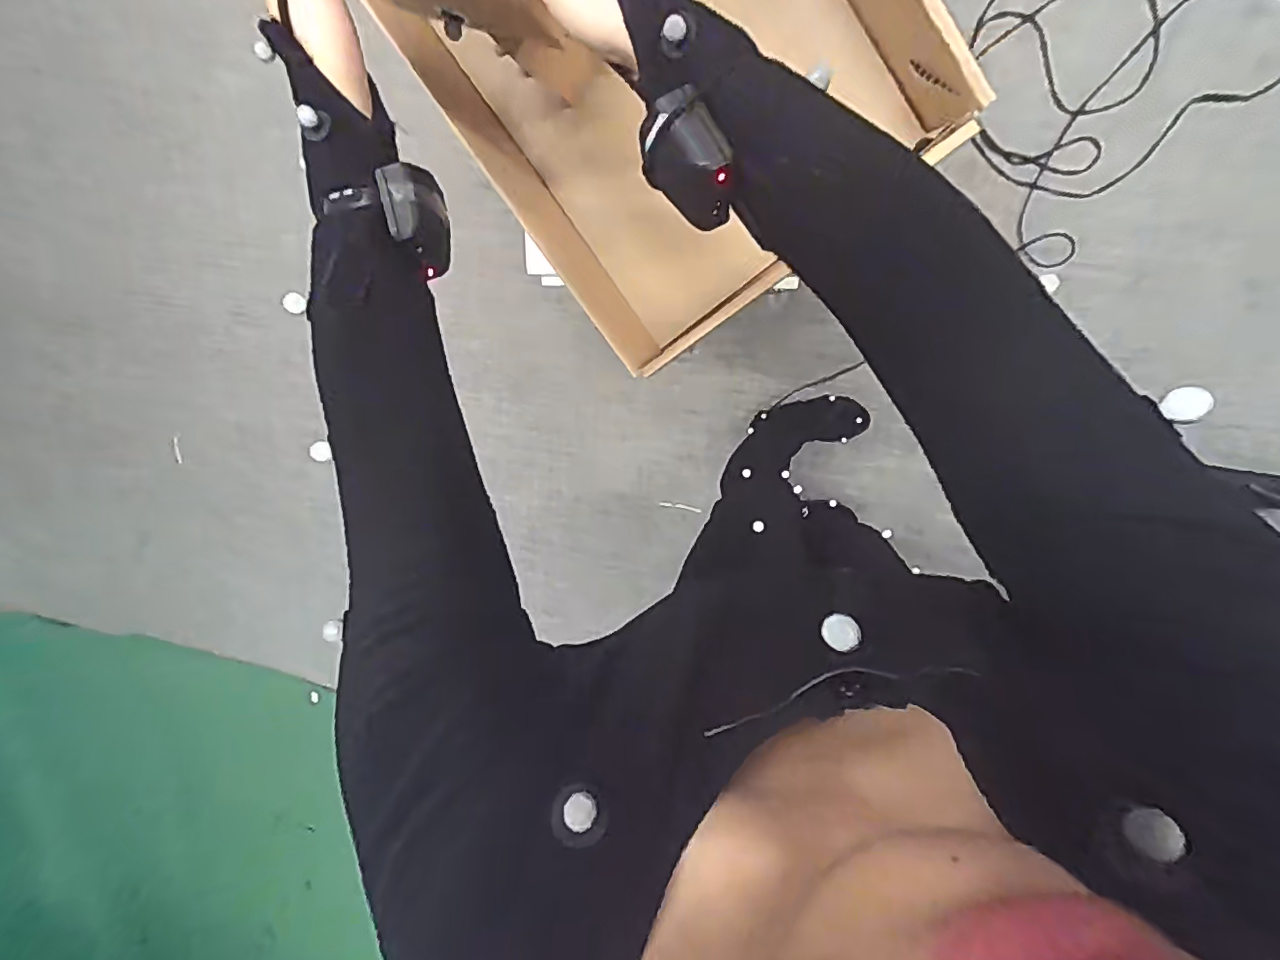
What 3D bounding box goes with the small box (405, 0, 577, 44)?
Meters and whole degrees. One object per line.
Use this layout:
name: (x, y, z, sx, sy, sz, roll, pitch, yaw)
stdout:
small box: (-0.139, -0.469, 0.399, 0.168, 0.176, 0.179, 16, 115, 8)
